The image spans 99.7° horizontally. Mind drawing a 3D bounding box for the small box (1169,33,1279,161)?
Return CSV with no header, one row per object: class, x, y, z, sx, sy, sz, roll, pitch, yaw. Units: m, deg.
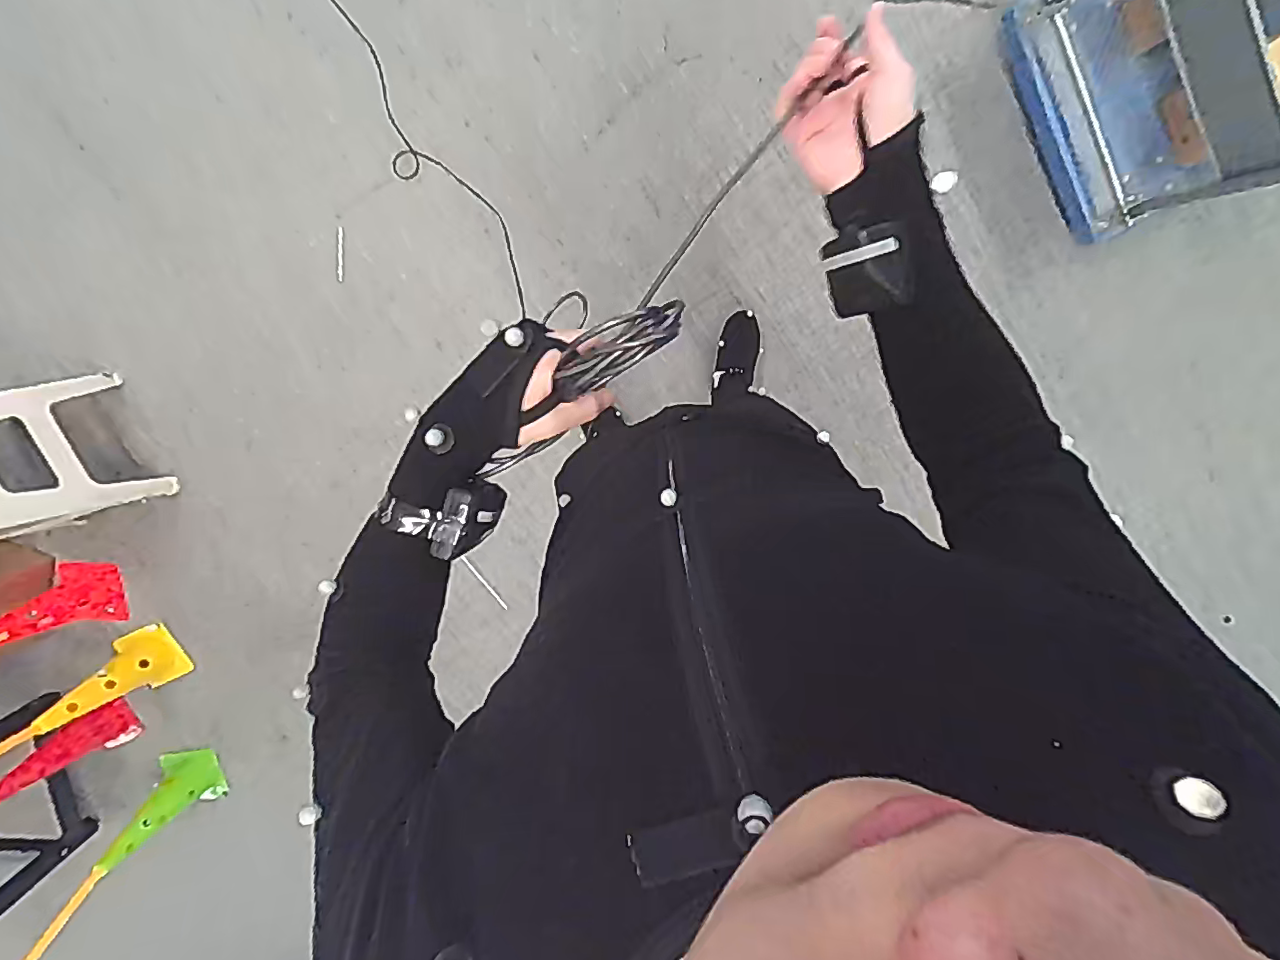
small box,1.288,-0.814,1.133,0.179,0.176,0.168,-29,102,9
